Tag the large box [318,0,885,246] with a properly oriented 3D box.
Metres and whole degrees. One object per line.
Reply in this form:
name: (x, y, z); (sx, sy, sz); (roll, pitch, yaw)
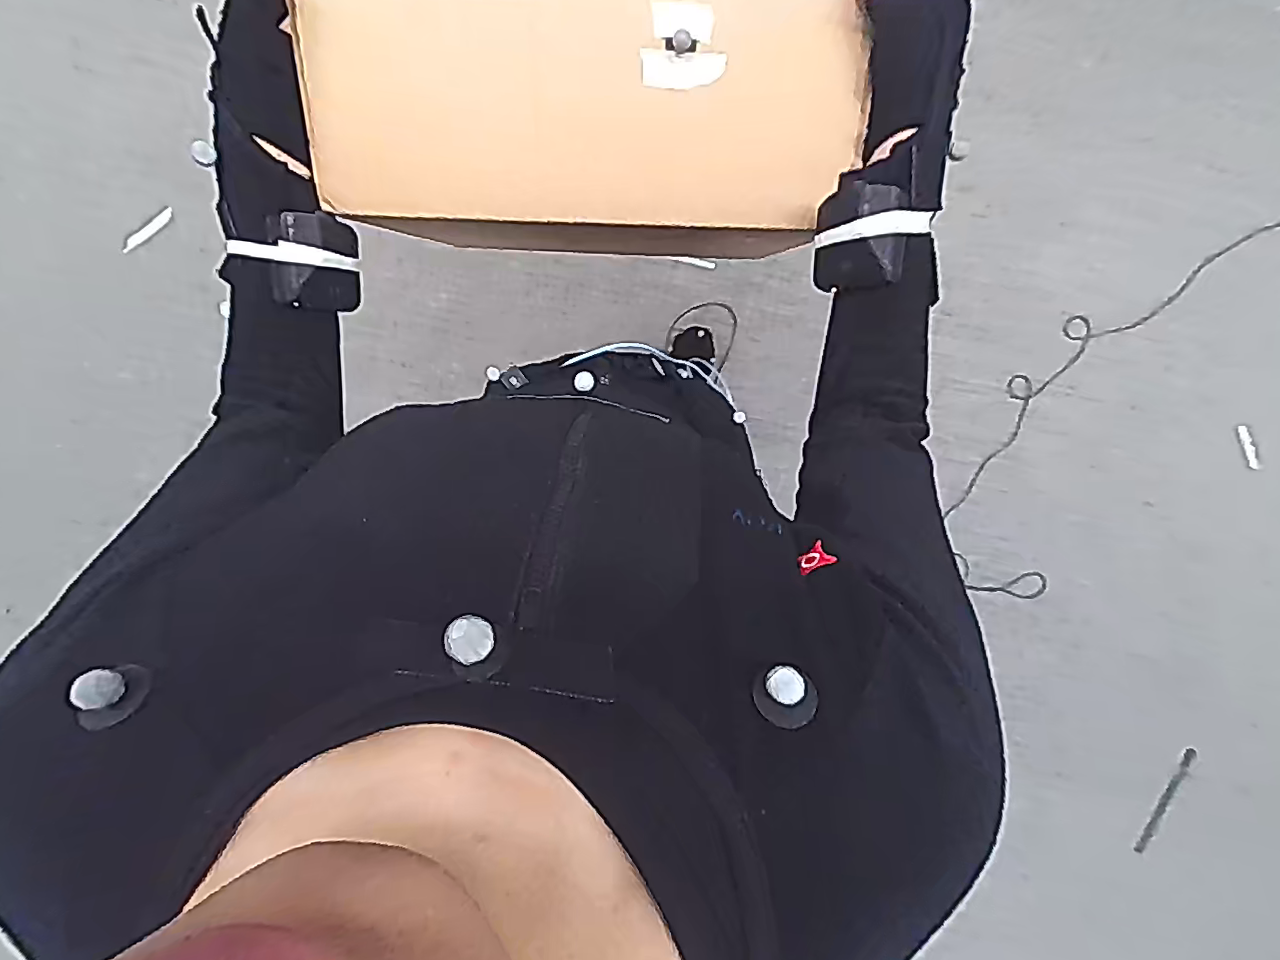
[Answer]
large box: (-0.028, -0.404, 0.511); (0.408, 0.320, 0.320); (2, 110, -2)
